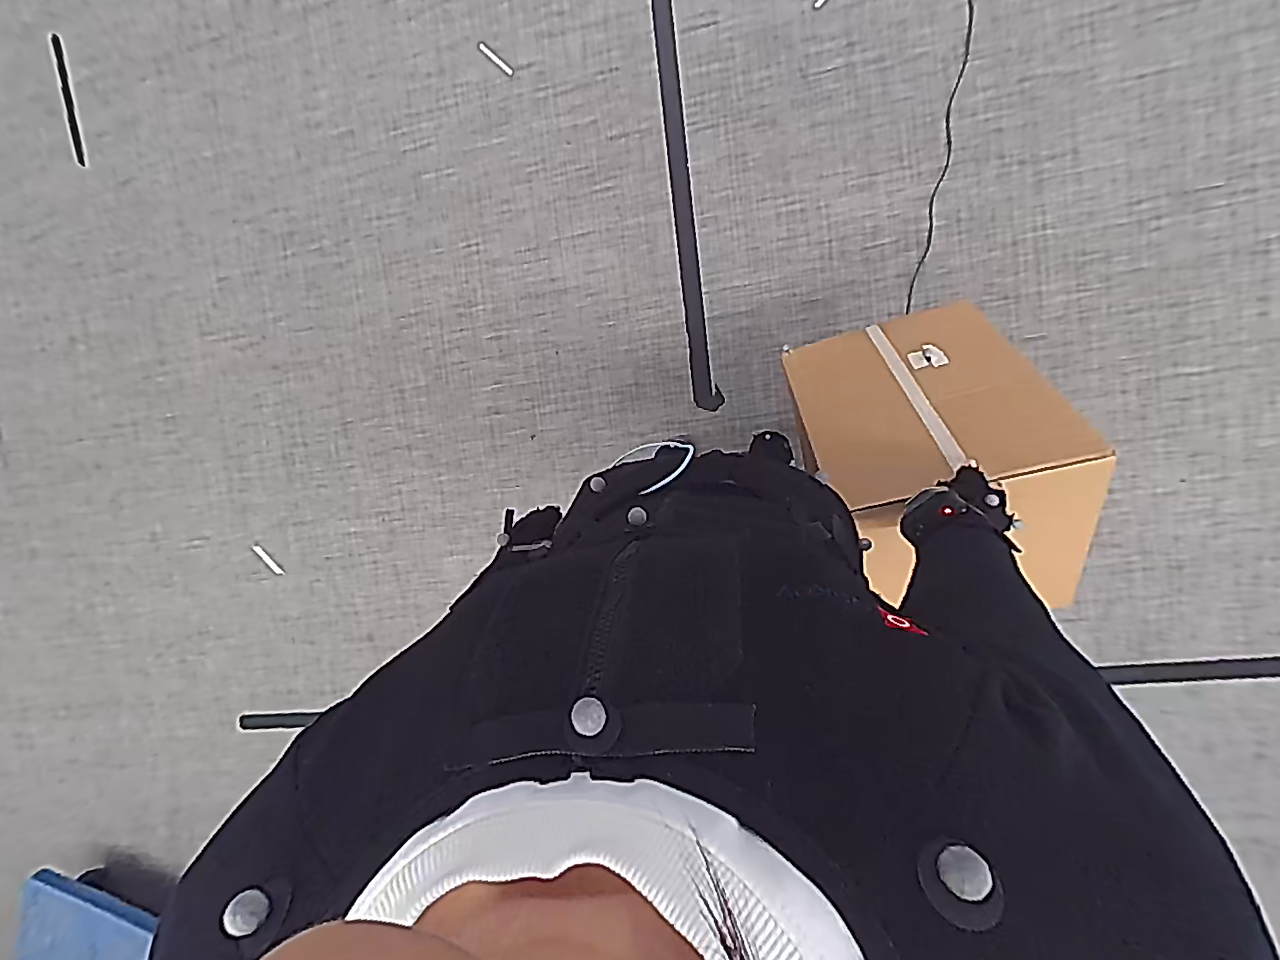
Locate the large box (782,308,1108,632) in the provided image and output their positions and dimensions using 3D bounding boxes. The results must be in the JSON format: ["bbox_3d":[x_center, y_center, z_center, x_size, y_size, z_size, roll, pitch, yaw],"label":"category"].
[{"bbox_3d":[0.453,-0.021,0.899,0.320,0.408,0.320,-14,130,12],"label":"large box"}]
